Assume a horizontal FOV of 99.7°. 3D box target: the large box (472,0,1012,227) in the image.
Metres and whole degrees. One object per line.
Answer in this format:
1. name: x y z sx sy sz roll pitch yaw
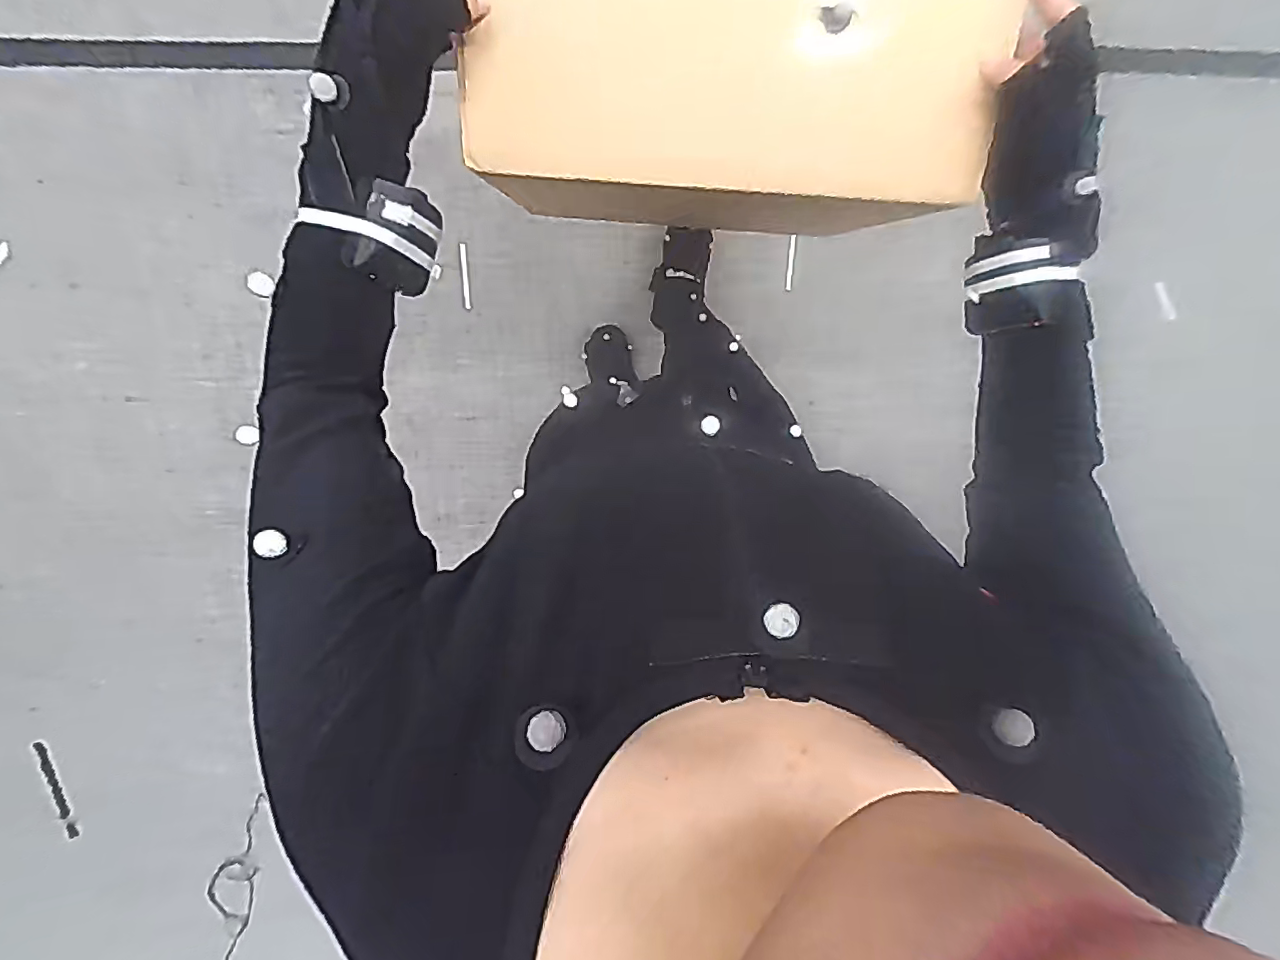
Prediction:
1. large box: 0.070 -0.434 0.519 0.408 0.320 0.320 2 110 -4
